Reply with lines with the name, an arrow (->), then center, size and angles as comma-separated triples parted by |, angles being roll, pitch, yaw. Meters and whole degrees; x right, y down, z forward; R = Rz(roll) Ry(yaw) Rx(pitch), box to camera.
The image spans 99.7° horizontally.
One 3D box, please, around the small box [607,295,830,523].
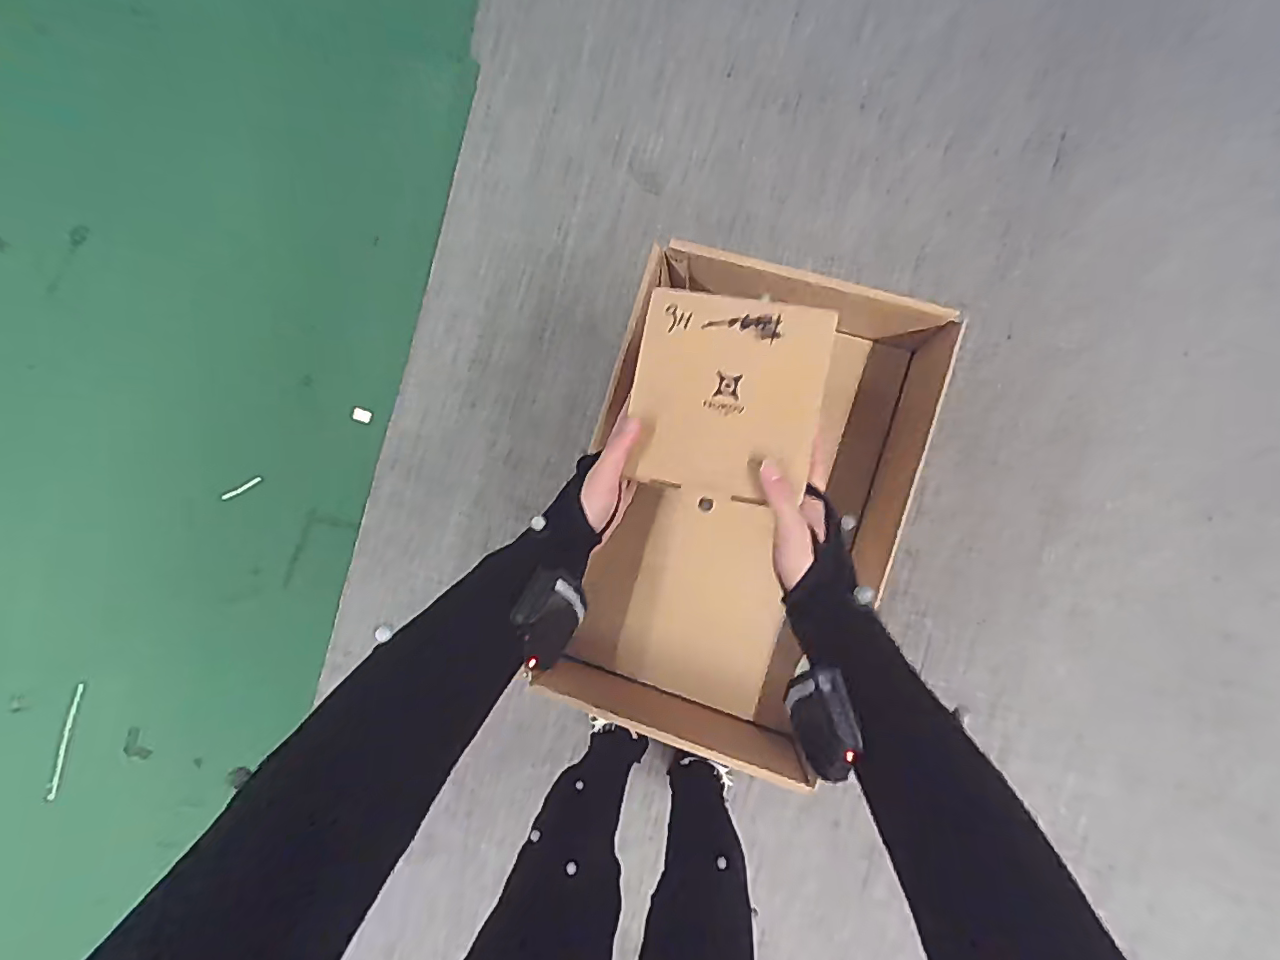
small box -> 0.078, -0.062, 0.544 | 0.168, 0.176, 0.179 | 11, 90, 9
